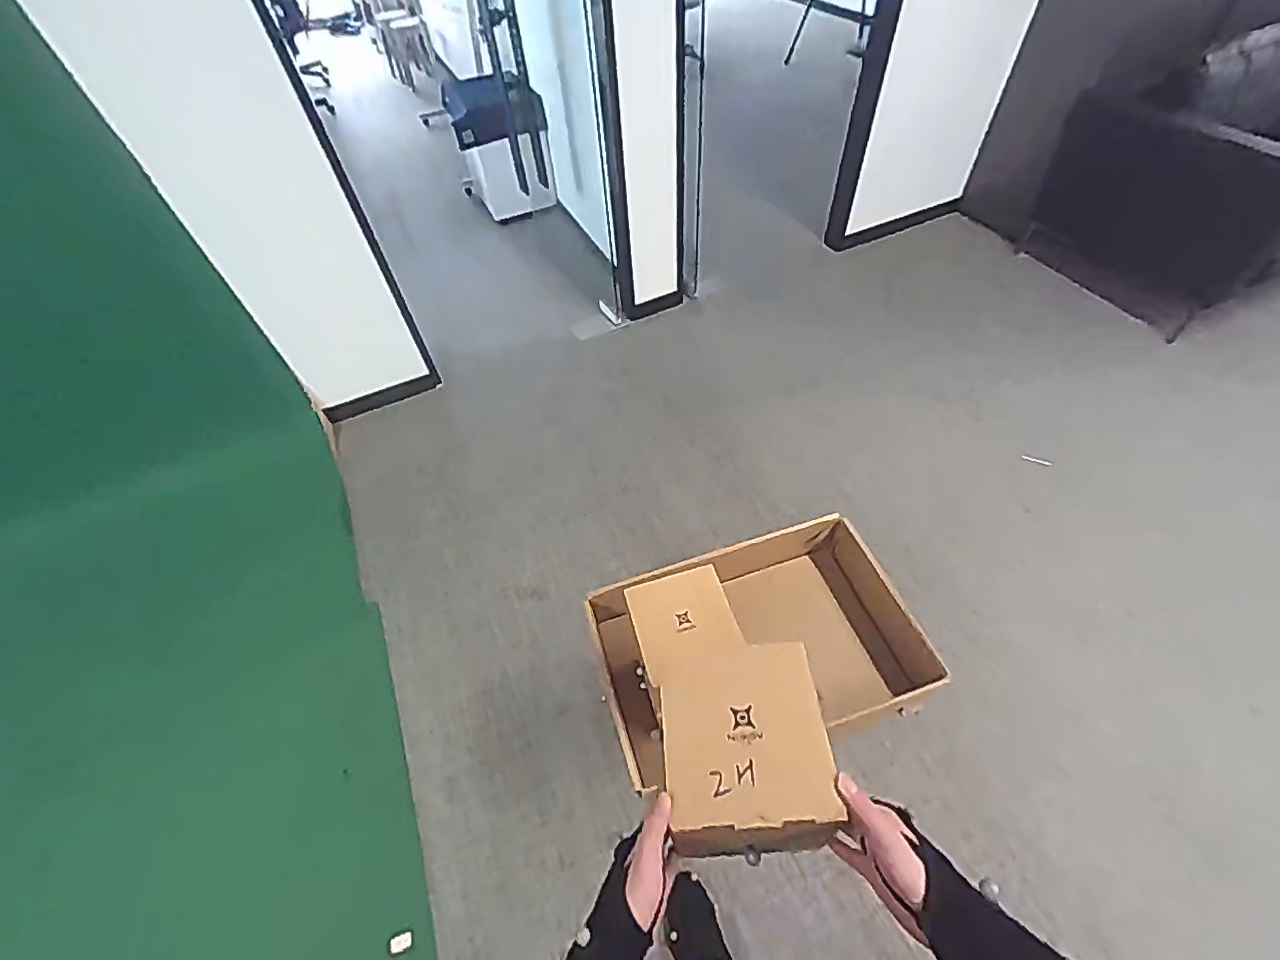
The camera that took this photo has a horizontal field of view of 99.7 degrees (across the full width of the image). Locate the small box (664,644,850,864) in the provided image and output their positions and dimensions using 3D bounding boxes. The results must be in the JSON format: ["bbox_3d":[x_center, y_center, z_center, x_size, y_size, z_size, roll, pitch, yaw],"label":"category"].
[{"bbox_3d":[0.115,0.308,0.606,0.168,0.176,0.179,-6,47,3],"label":"small box"}]

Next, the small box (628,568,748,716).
[{"bbox_3d":[0.079,0.286,0.947,0.168,0.176,0.179,-14,54,-8],"label":"small box"}]
